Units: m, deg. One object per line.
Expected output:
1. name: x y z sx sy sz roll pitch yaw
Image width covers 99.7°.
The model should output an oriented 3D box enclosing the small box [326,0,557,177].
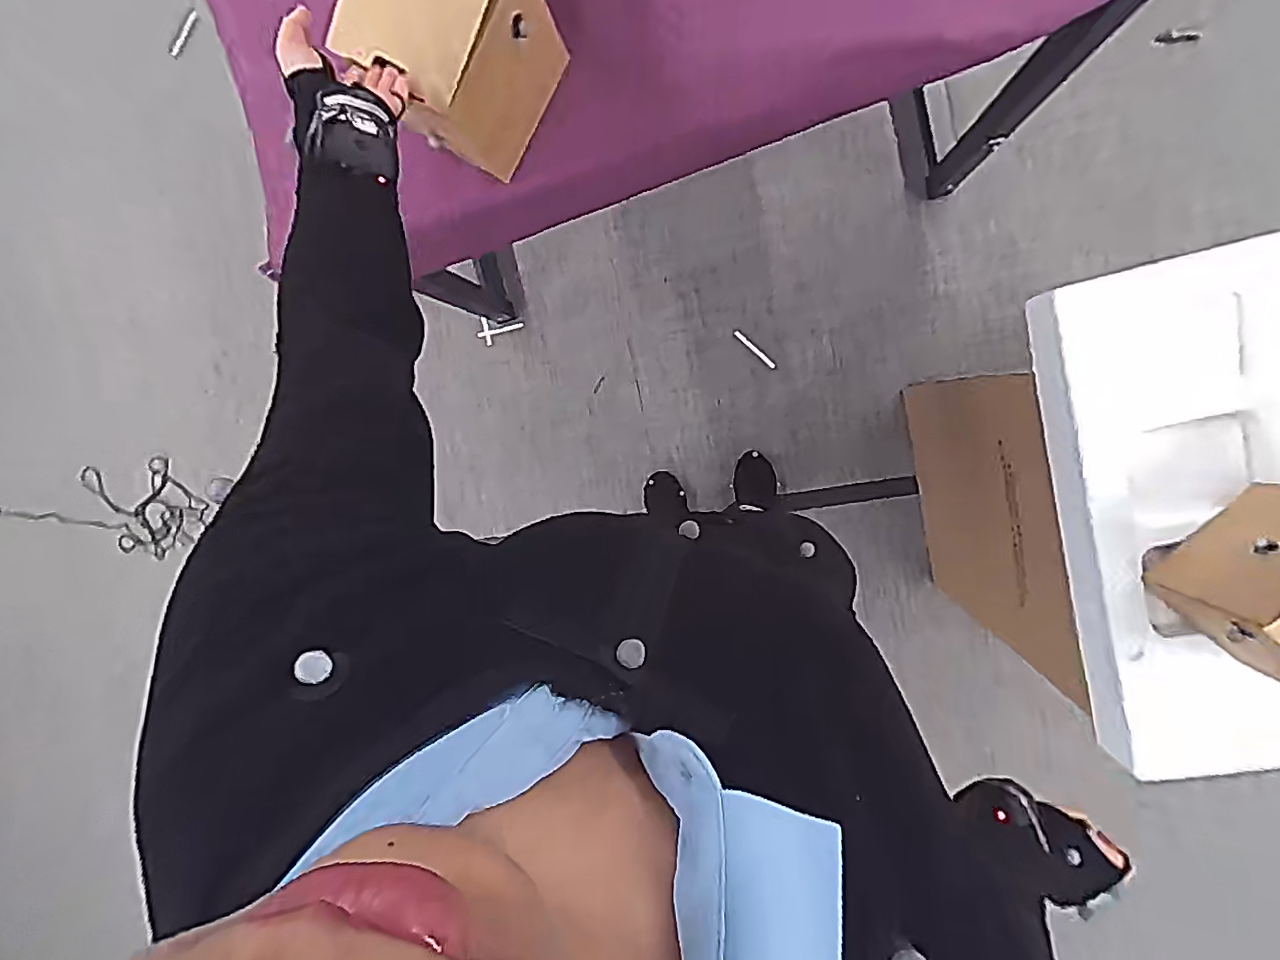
1. small box: -0.218 -0.511 0.645 0.168 0.176 0.179 32 100 5
